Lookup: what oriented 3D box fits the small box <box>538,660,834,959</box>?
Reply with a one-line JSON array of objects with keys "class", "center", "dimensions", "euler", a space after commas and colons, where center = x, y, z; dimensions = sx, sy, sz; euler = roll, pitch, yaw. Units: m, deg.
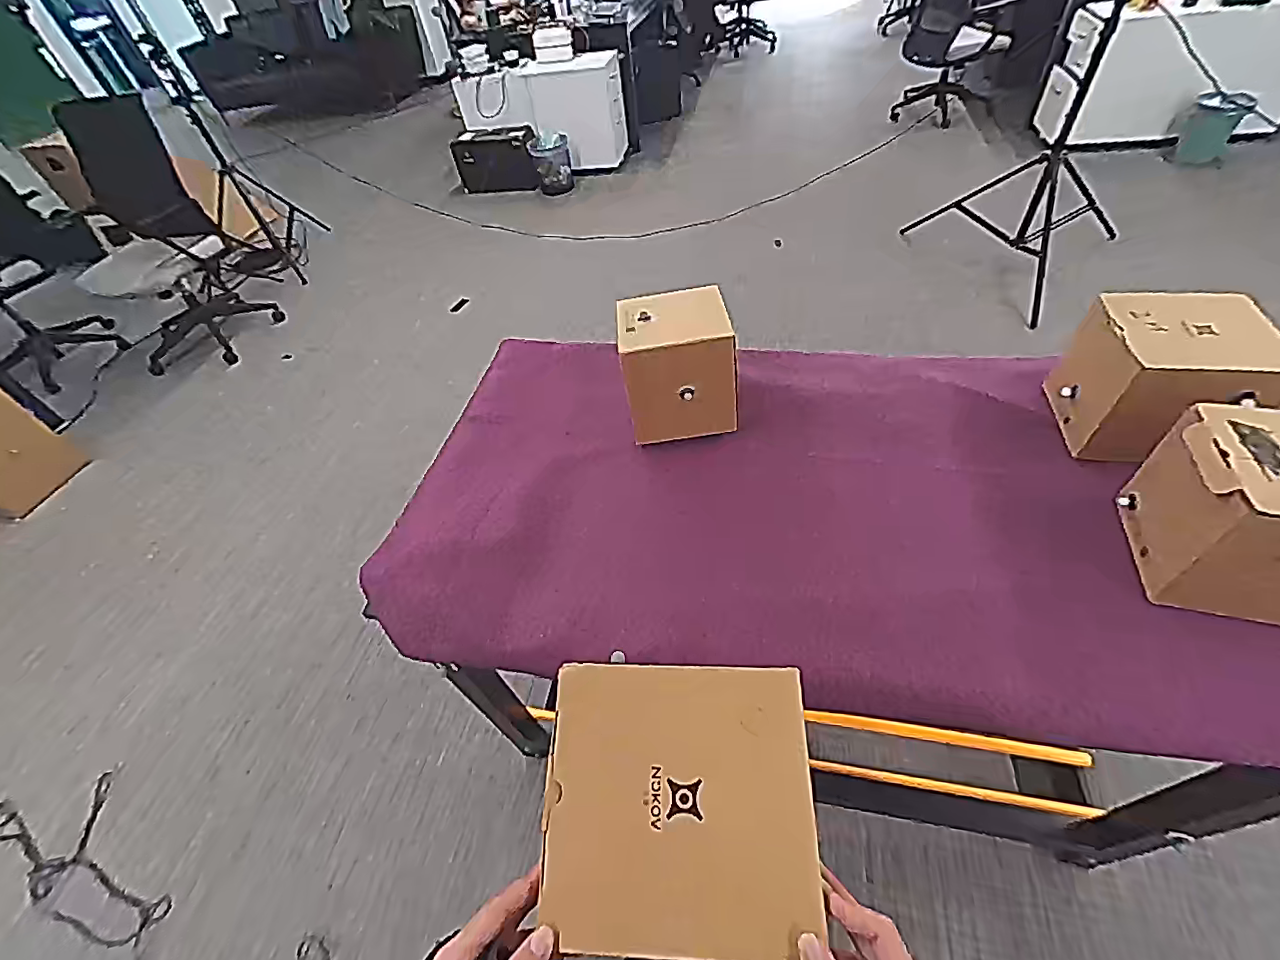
[{"class": "small box", "center": [0.035, 0.240, 0.421], "dimensions": [0.179, 0.176, 0.168], "euler": [-2, 61, 6]}]

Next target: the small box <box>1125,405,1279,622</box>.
[{"class": "small box", "center": [0.685, 0.039, 0.594], "dimensions": [0.179, 0.176, 0.168], "euler": [9, 49, 16]}]

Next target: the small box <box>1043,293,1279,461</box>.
[{"class": "small box", "center": [0.710, -0.138, 0.748], "dimensions": [0.179, 0.176, 0.168], "euler": [4, 50, 12]}]
